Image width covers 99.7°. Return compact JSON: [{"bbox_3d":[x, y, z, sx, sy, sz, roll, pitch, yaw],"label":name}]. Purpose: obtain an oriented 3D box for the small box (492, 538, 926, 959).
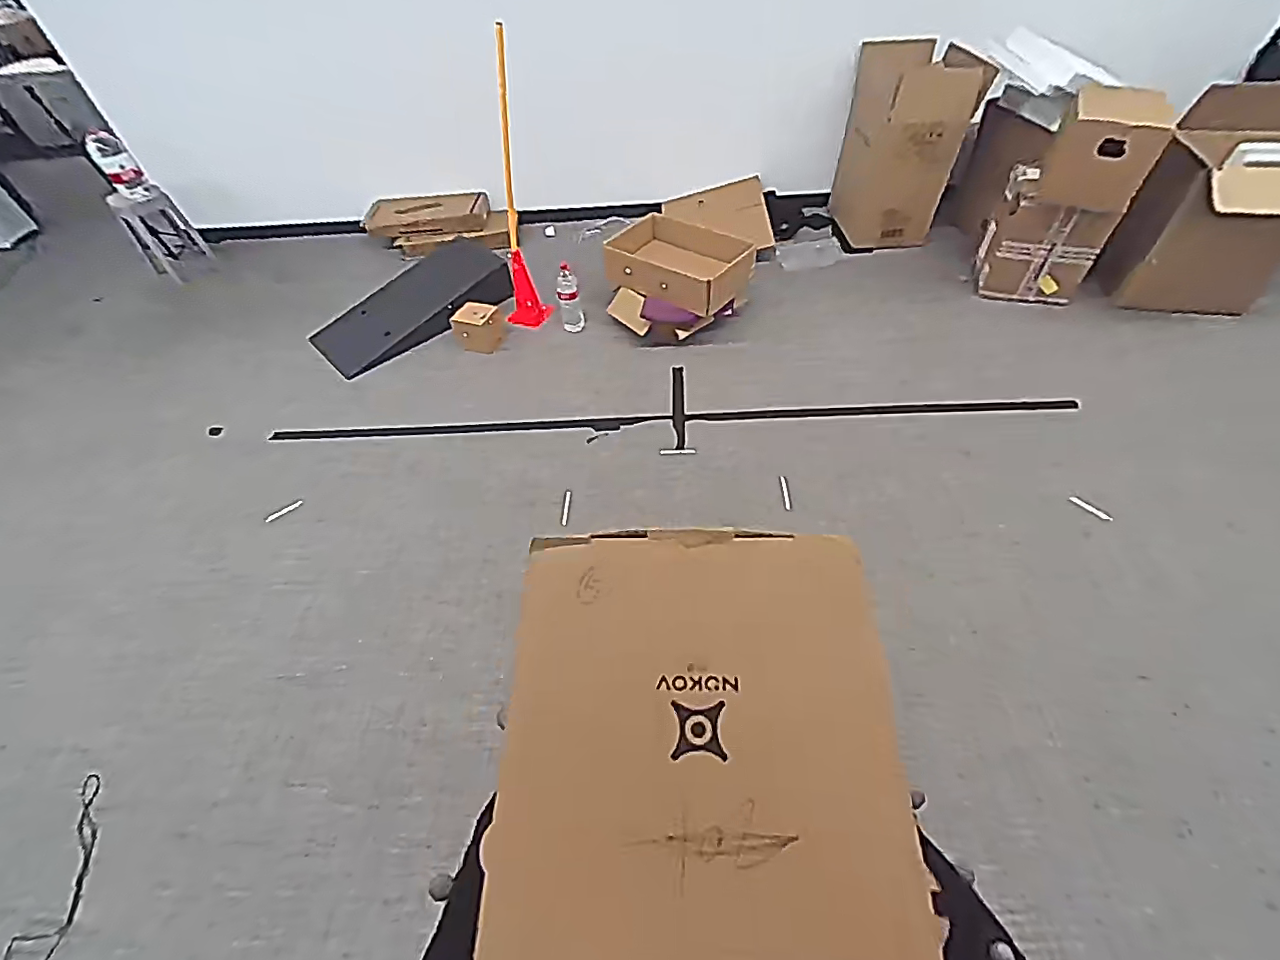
[{"bbox_3d":[0.028,0.147,0.312,0.168,0.176,0.179,-1,60,2],"label":"small box"}]
